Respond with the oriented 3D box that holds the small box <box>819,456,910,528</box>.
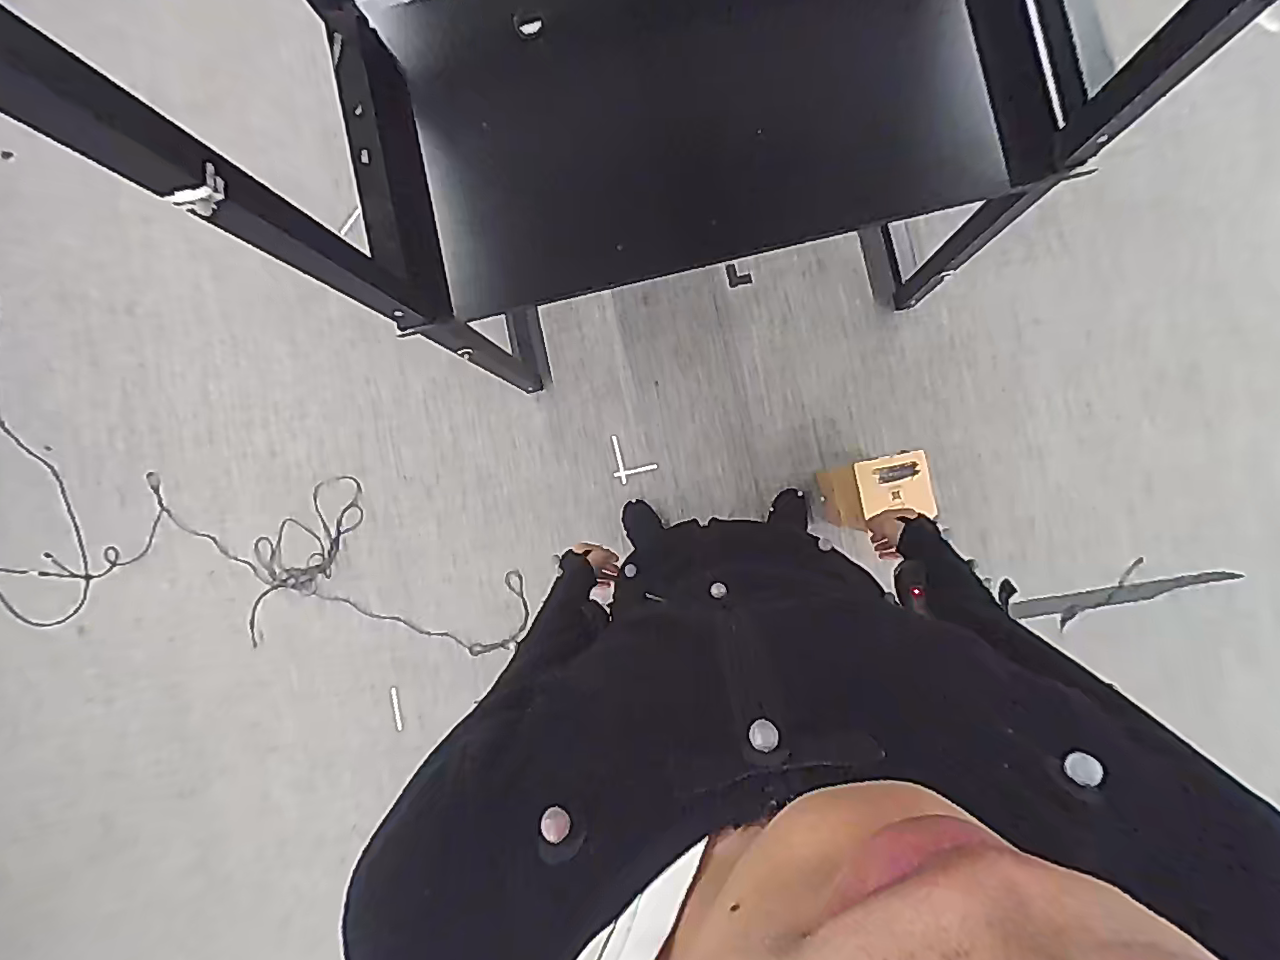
[{"bbox_3d":[0.620,0.032,1.511,0.179,0.176,0.168,-14,88,7],"label":"small box"}]
